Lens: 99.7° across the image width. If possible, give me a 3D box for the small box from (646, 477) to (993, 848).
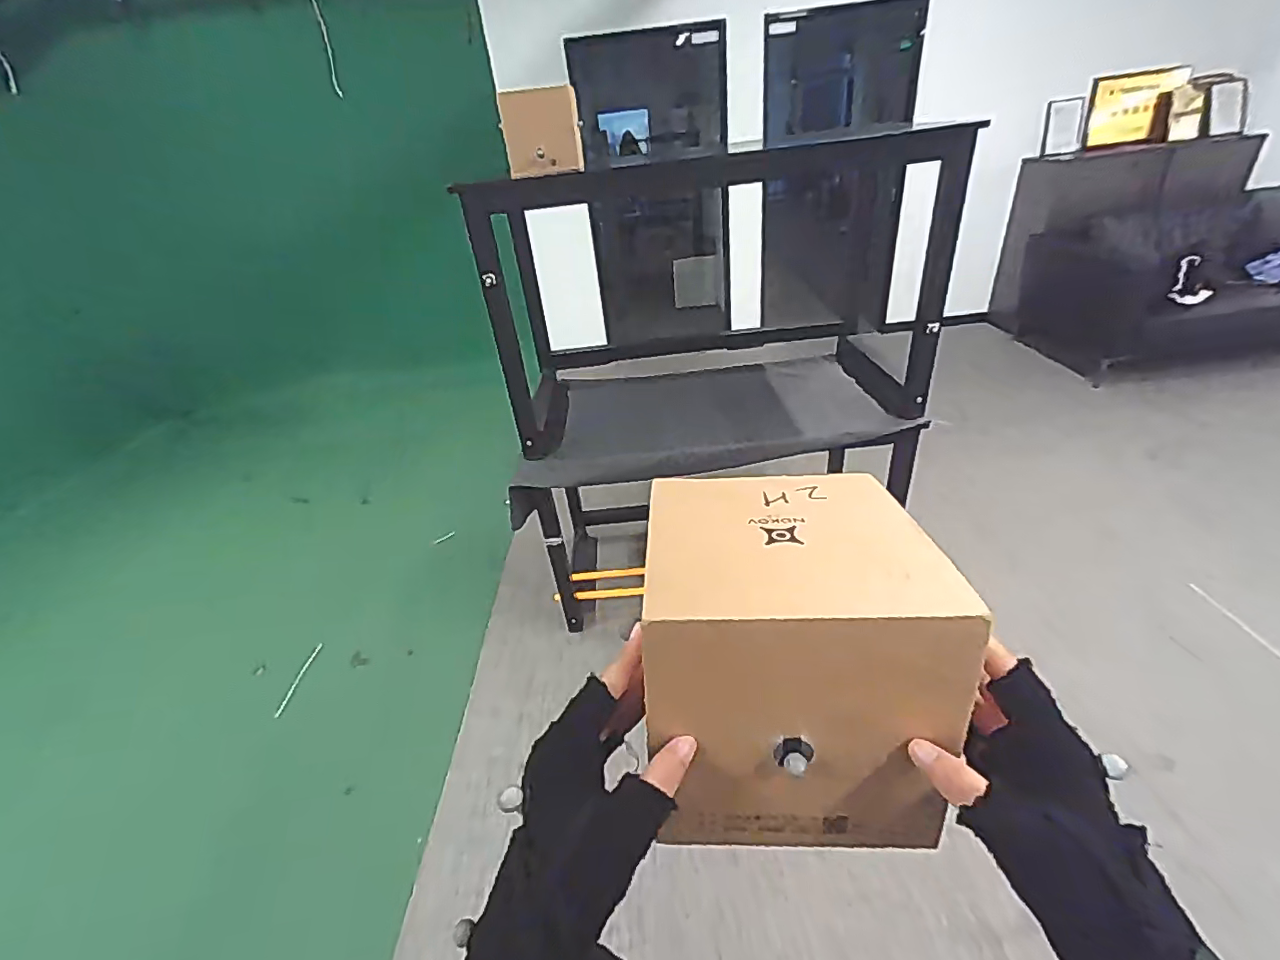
[{"bbox_3d":[0.094,0.109,0.362,0.168,0.176,0.179,-1,23,4],"label":"small box"}]
